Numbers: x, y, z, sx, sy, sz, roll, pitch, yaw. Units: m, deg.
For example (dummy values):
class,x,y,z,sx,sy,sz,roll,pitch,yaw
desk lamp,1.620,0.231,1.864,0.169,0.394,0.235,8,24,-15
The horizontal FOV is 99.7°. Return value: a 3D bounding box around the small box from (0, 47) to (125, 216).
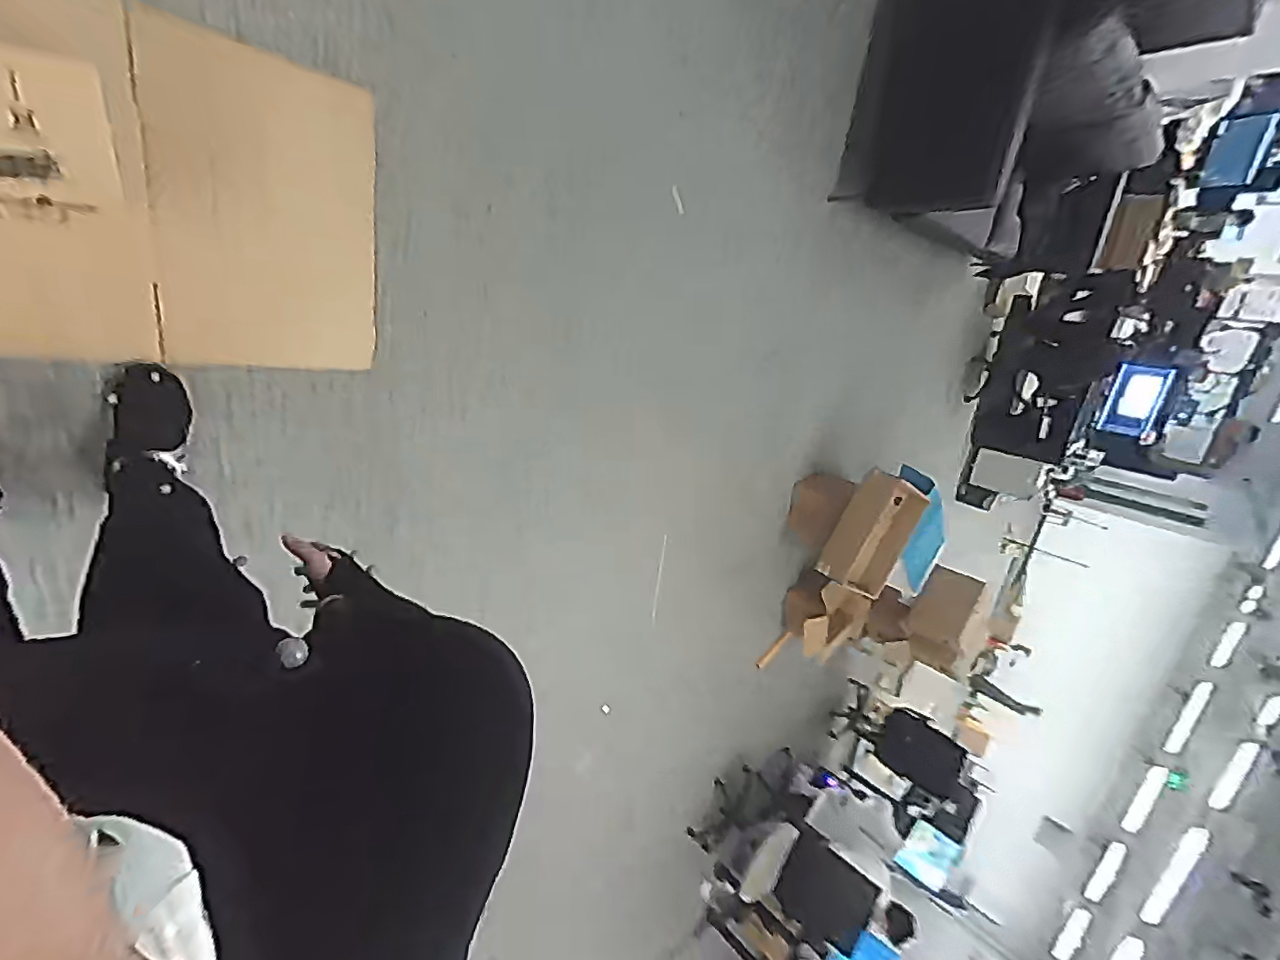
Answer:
class,x,y,z,sx,sy,sz,roll,pitch,yaw
small box,-0.831,-0.468,0.738,0.168,0.176,0.179,-13,116,-41
